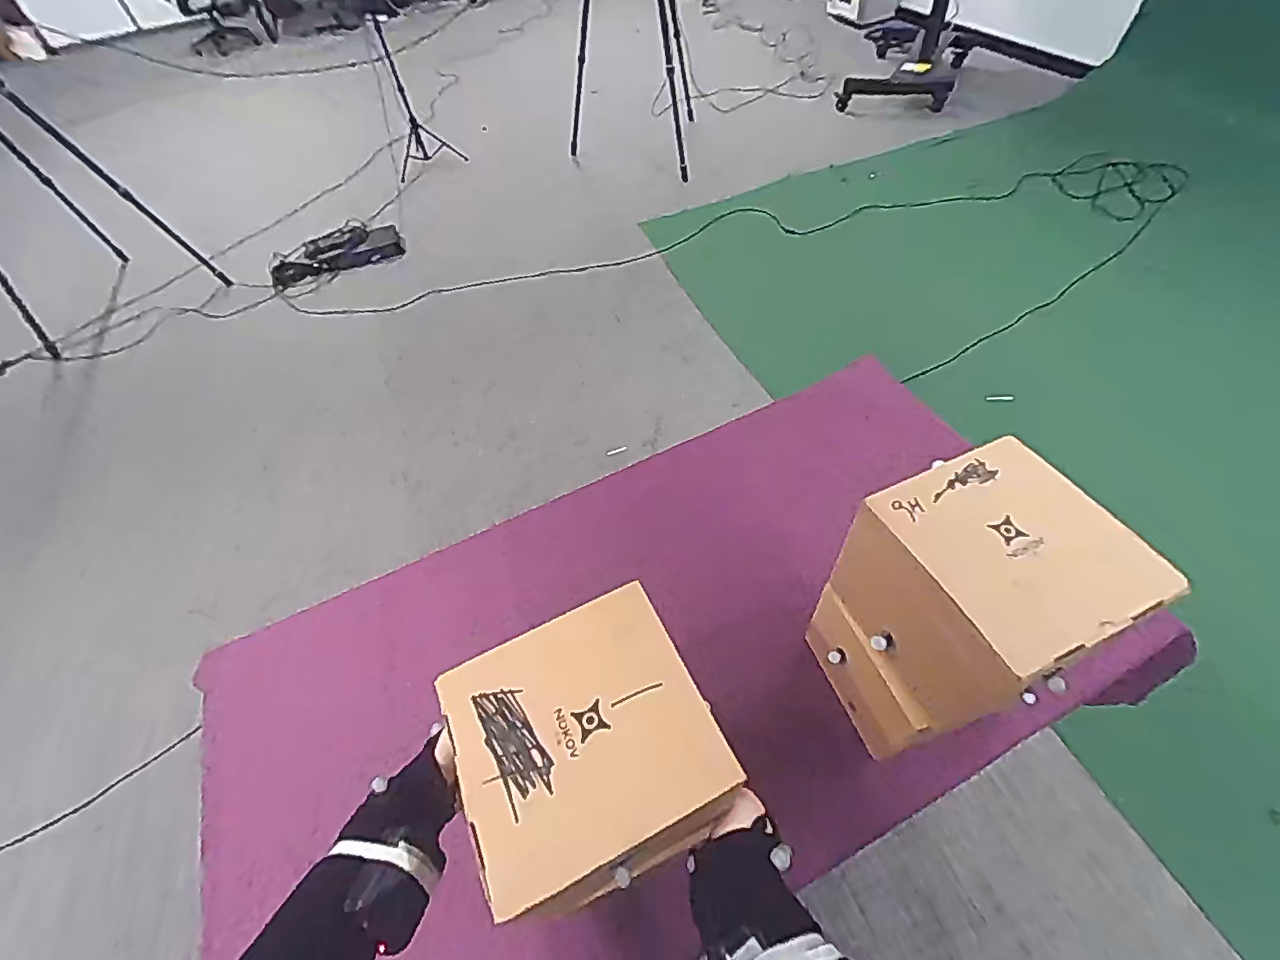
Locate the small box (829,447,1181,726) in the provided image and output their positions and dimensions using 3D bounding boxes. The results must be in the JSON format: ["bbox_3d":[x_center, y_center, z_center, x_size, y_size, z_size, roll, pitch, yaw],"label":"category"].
[{"bbox_3d":[0.305,0.107,0.501,0.168,0.176,0.179,-21,54,-10],"label":"small box"}]

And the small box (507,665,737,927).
[{"bbox_3d":[-0.019,0.331,0.575,0.179,0.176,0.168,-23,54,-12],"label":"small box"}]

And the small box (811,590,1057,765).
[{"bbox_3d":[0.317,0.208,0.630,0.179,0.176,0.168,-18,53,-8],"label":"small box"}]
